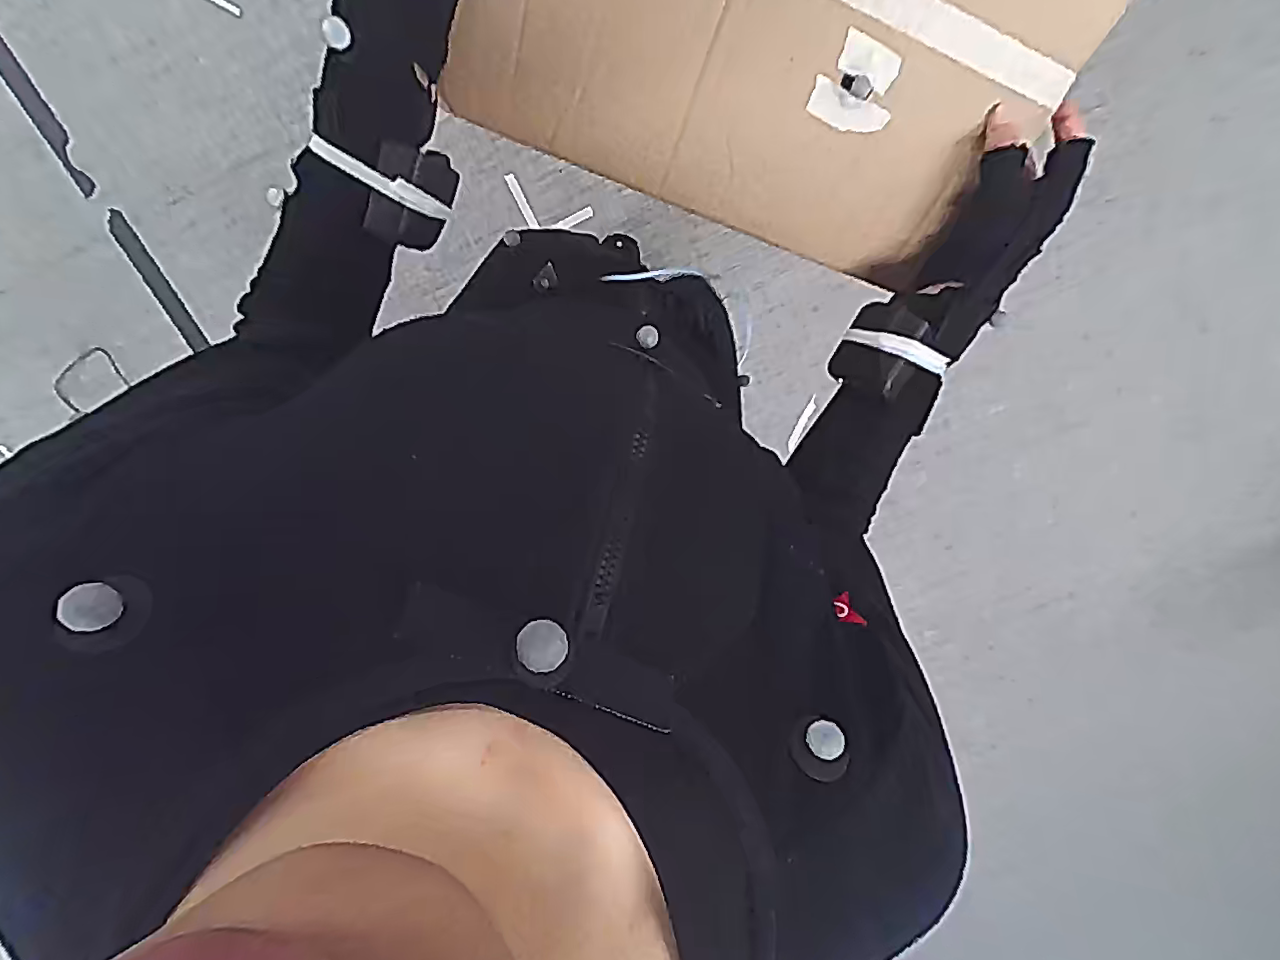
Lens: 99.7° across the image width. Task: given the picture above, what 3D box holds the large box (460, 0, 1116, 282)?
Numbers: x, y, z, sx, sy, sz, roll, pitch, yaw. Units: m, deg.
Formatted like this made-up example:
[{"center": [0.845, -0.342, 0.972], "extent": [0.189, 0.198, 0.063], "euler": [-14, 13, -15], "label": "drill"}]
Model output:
[{"center": [0.103, -0.429, 0.449], "extent": [0.408, 0.320, 0.320], "euler": [15, 132, -14], "label": "large box"}]
